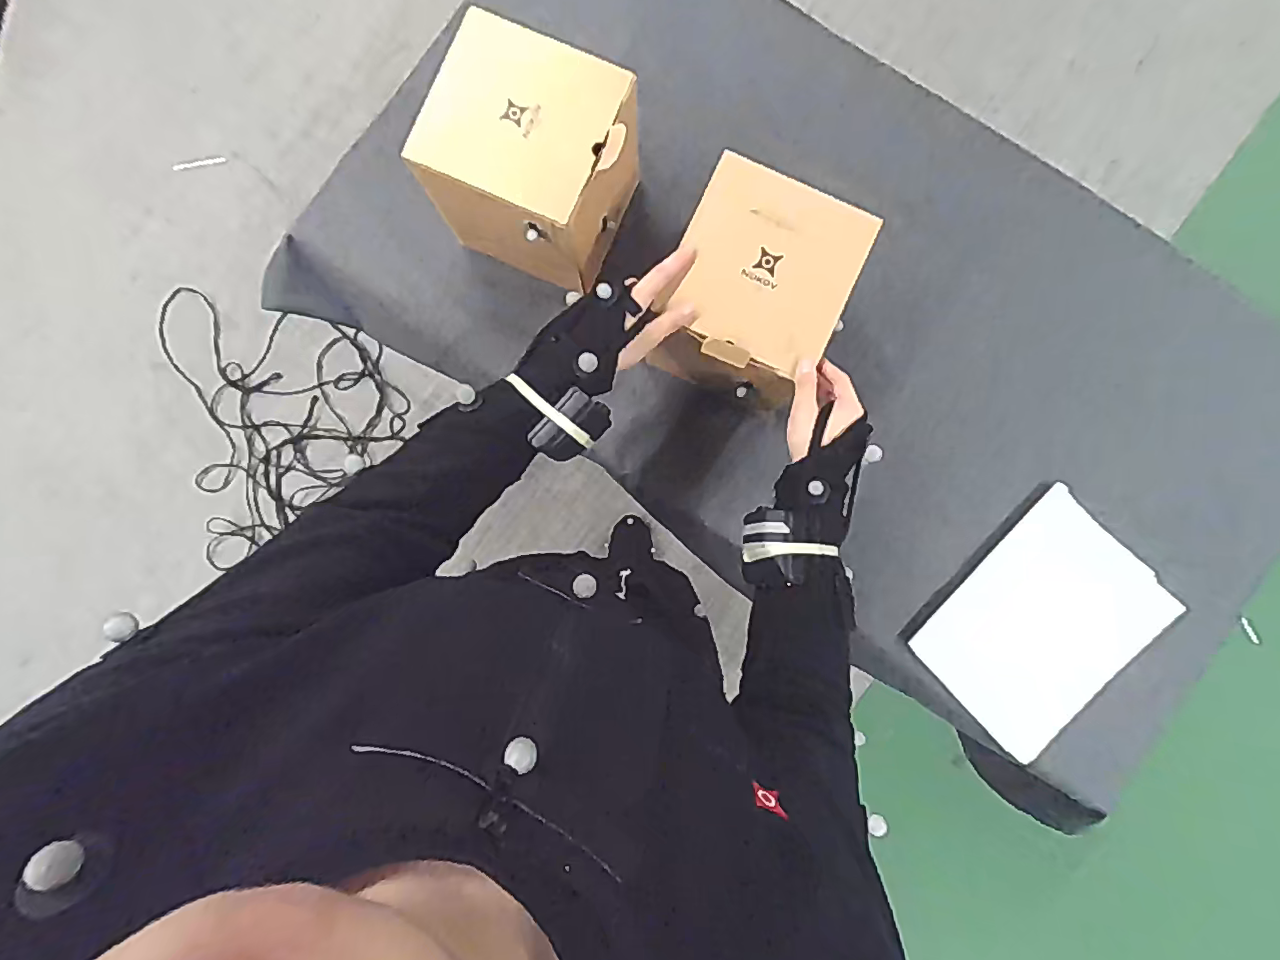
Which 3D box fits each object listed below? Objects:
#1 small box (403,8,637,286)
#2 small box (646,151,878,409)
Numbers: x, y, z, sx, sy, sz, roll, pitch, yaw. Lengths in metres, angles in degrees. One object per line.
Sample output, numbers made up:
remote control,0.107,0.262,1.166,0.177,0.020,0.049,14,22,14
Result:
small box,-0.114,-0.340,0.590,0.179,0.176,0.168,23,86,0
small box,0.115,-0.194,0.582,0.168,0.176,0.179,25,86,0
